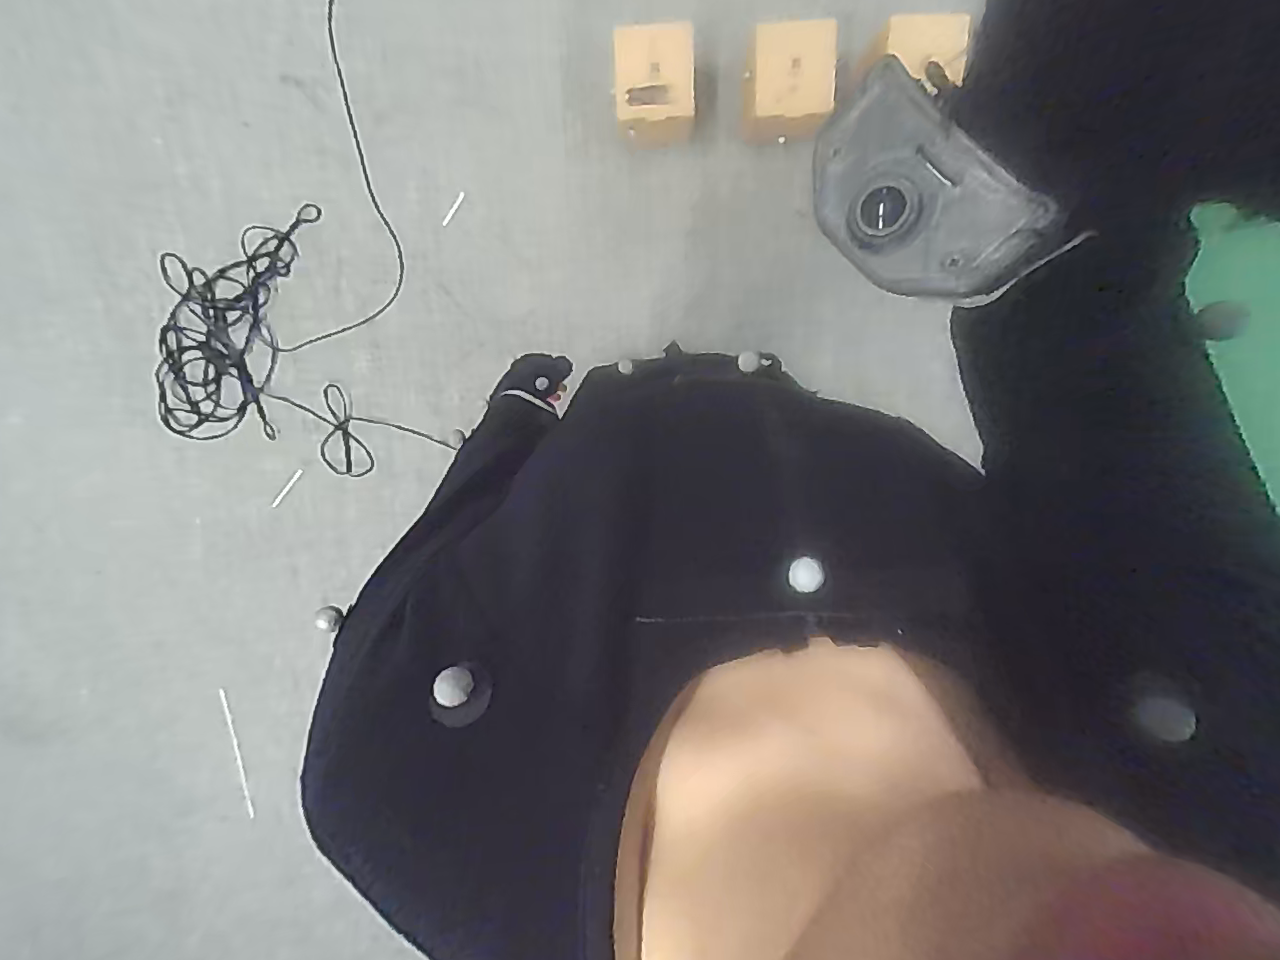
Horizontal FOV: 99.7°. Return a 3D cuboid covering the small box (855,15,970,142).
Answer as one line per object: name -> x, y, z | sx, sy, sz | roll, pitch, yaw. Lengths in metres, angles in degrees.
small box -> 0.594, -0.881, 1.200 | 0.168, 0.176, 0.179 | 0, 103, 0

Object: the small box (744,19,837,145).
small box -> 0.326, -0.875, 1.202 | 0.168, 0.176, 0.179 | -1, 103, 2
